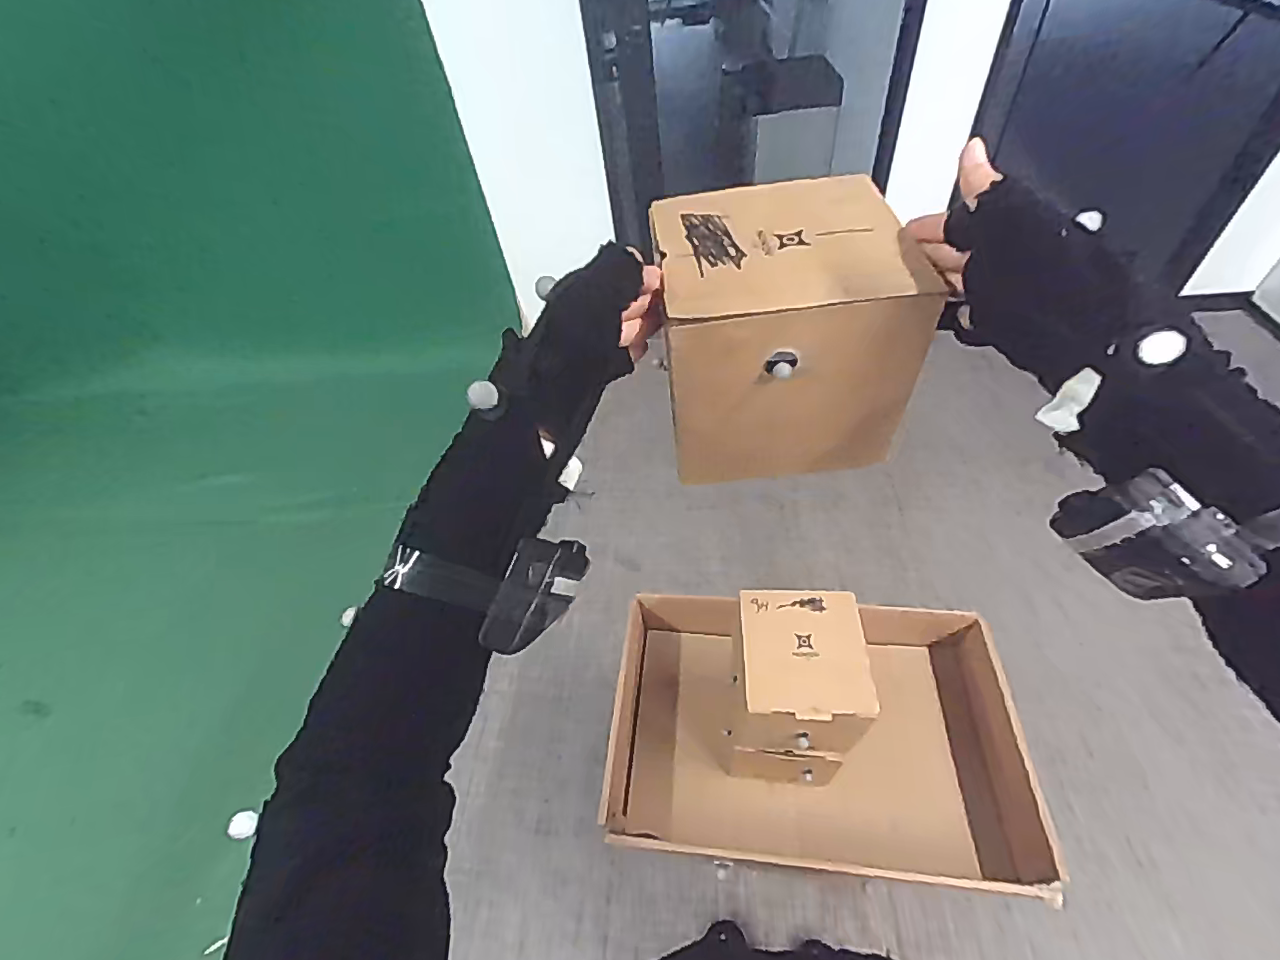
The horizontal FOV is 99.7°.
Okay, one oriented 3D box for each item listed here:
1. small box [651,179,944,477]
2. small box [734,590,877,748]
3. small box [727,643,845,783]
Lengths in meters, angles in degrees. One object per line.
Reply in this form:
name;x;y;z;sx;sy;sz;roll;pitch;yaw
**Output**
small box;0.107;-0.116;0.445;0.179;0.176;0.168;-6;52;3
small box;0.226;0.279;0.790;0.168;0.176;0.179;1;50;5
small box;0.235;0.391;0.909;0.168;0.176;0.179;2;48;7
